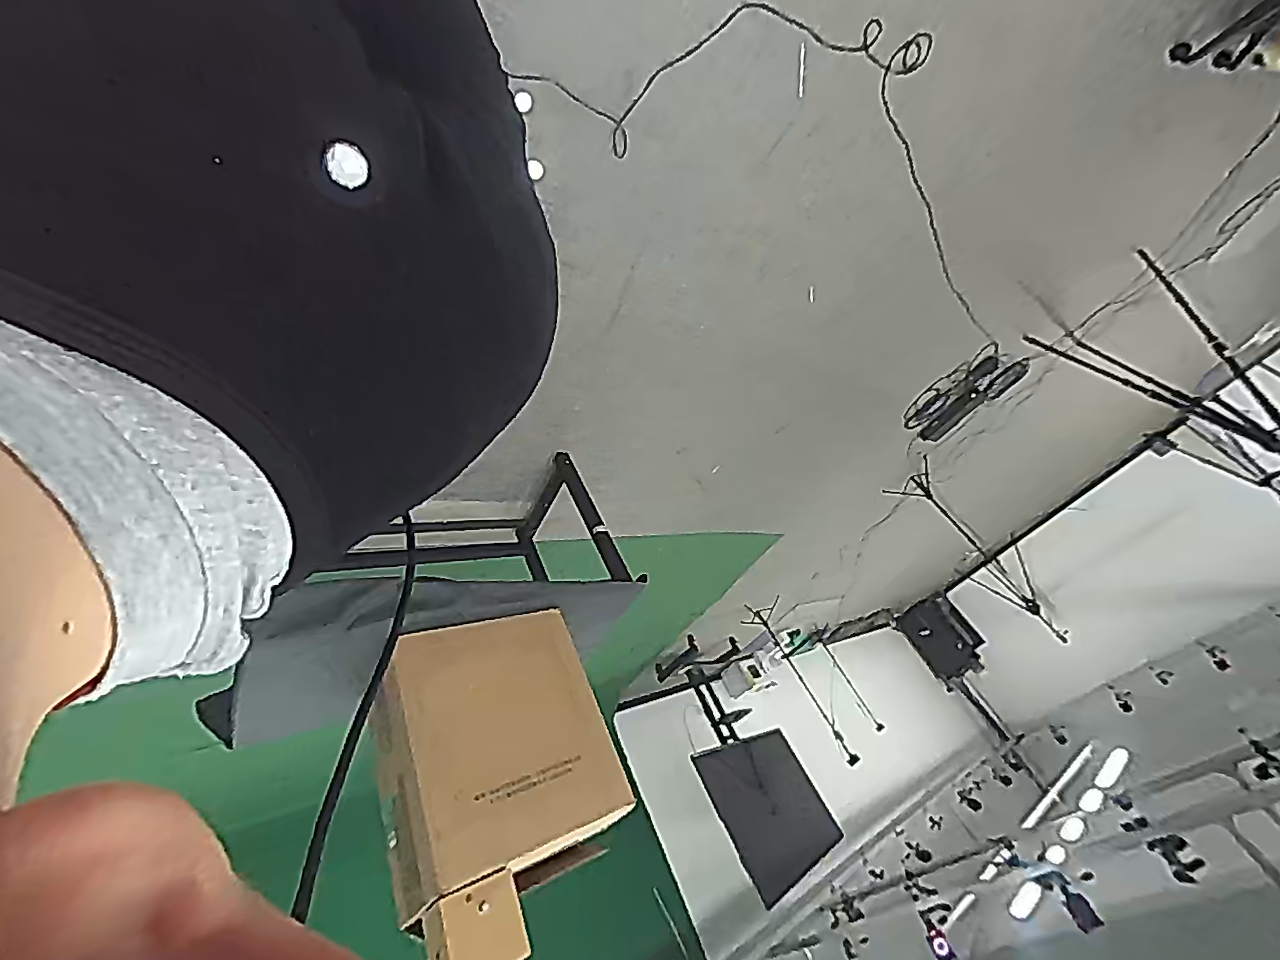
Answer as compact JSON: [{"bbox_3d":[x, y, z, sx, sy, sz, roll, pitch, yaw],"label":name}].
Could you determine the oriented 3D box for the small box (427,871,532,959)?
[{"bbox_3d":[-0.366,1.013,1.207,0.168,0.176,0.179,0,136,-38],"label":"small box"}]
